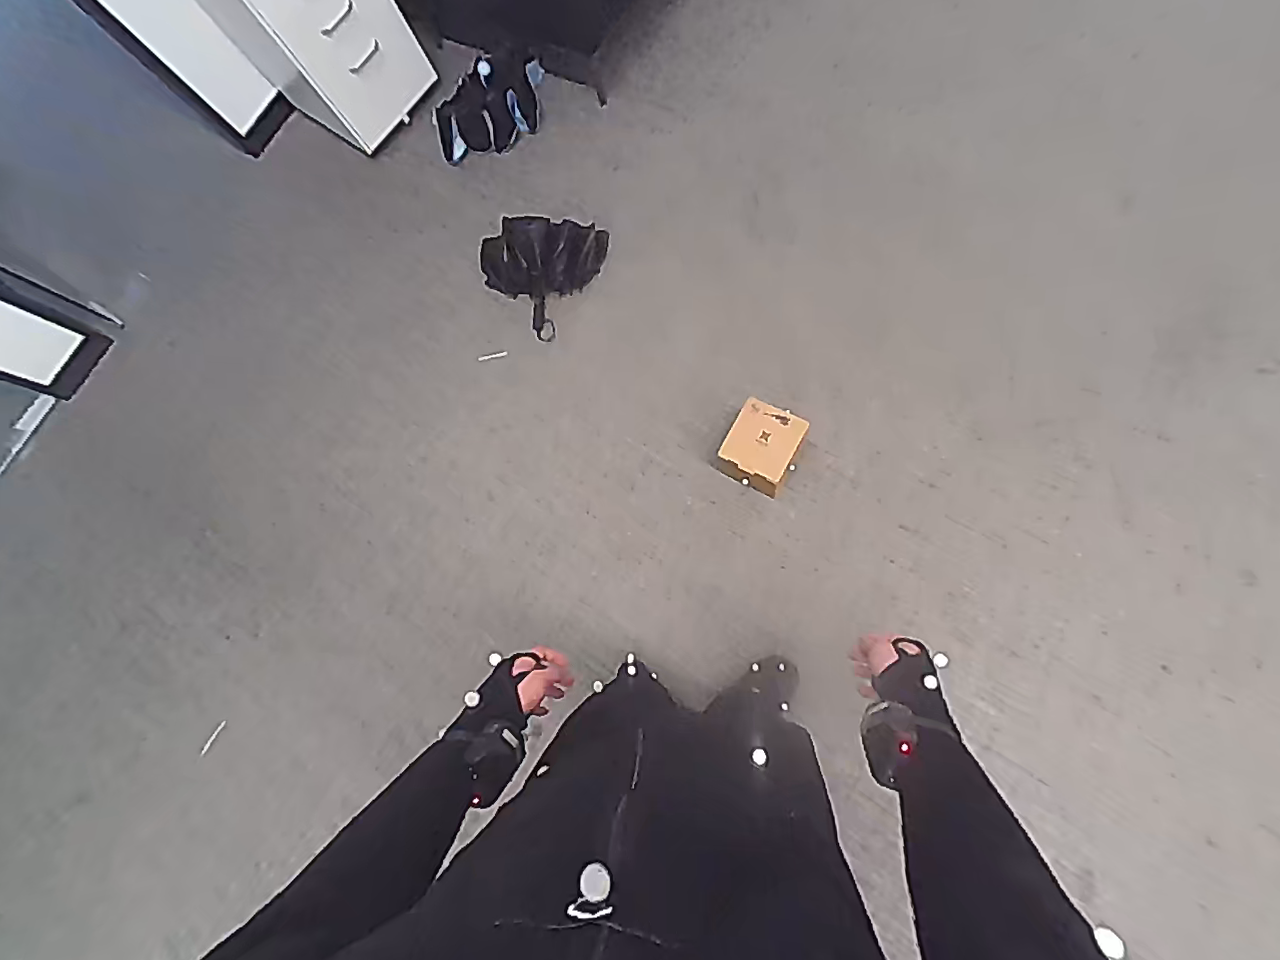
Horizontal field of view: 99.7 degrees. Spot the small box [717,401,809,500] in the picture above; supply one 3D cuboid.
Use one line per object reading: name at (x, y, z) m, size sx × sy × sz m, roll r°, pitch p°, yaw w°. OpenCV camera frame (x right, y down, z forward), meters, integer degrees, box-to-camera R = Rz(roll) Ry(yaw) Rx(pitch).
small box at (0.317, -0.068, 1.385) m, size 0.168 × 0.176 × 0.179 m, roll 28°, pitch 83°, yaw 18°
